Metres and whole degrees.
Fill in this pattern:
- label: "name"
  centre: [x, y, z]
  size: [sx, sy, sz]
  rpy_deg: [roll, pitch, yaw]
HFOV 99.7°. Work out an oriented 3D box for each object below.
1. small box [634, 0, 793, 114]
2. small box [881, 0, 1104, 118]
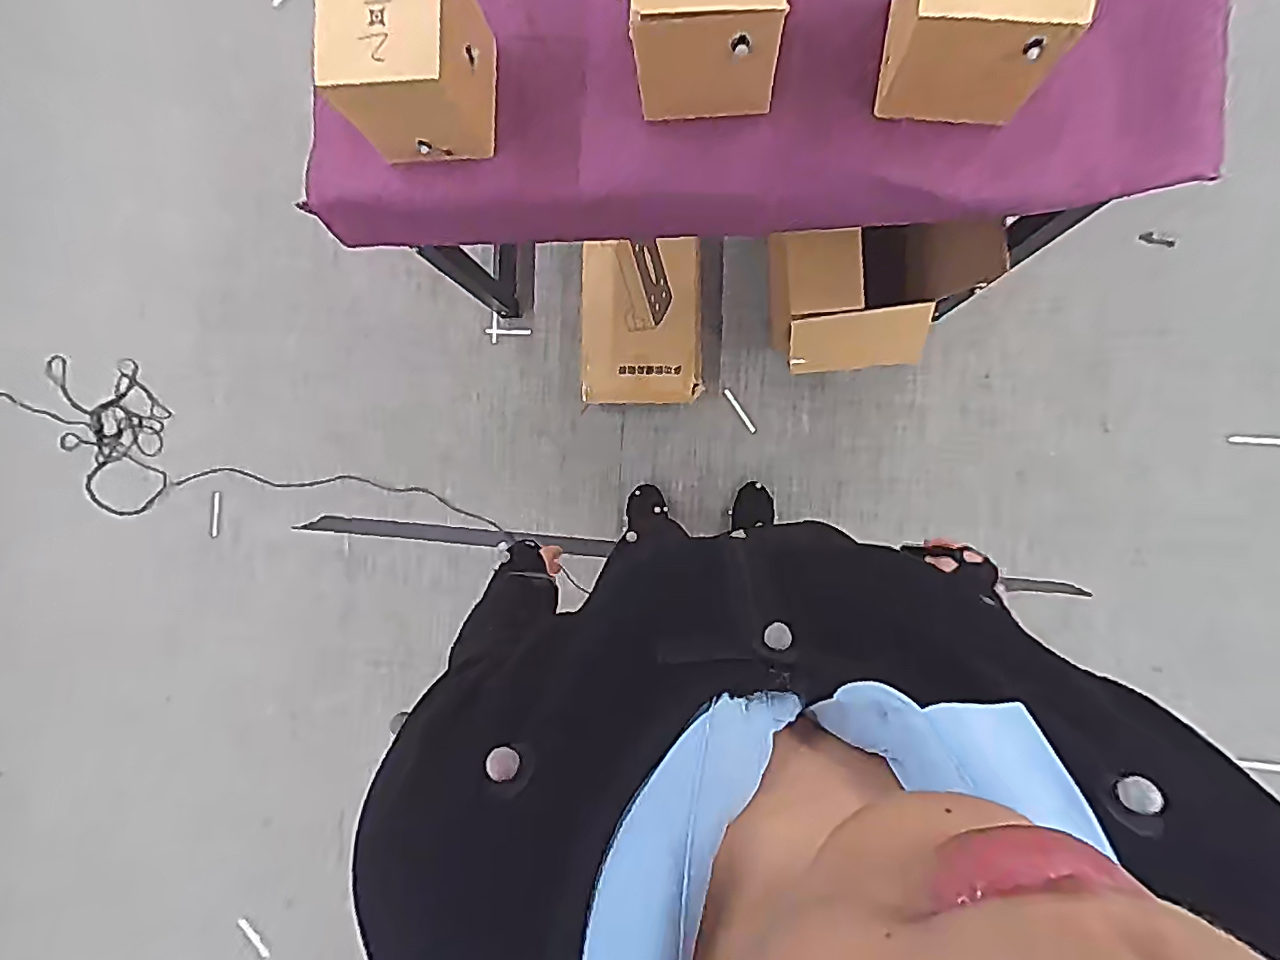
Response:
- label: "small box"
  centre: [0.090, -0.594, 0.674]
  size: [0.179, 0.176, 0.168]
  rpy_deg: [1, 88, 7]
- label: "small box"
  centre: [0.405, -0.563, 0.637]
  size: [0.179, 0.176, 0.168]
  rpy_deg: [8, 92, 7]
